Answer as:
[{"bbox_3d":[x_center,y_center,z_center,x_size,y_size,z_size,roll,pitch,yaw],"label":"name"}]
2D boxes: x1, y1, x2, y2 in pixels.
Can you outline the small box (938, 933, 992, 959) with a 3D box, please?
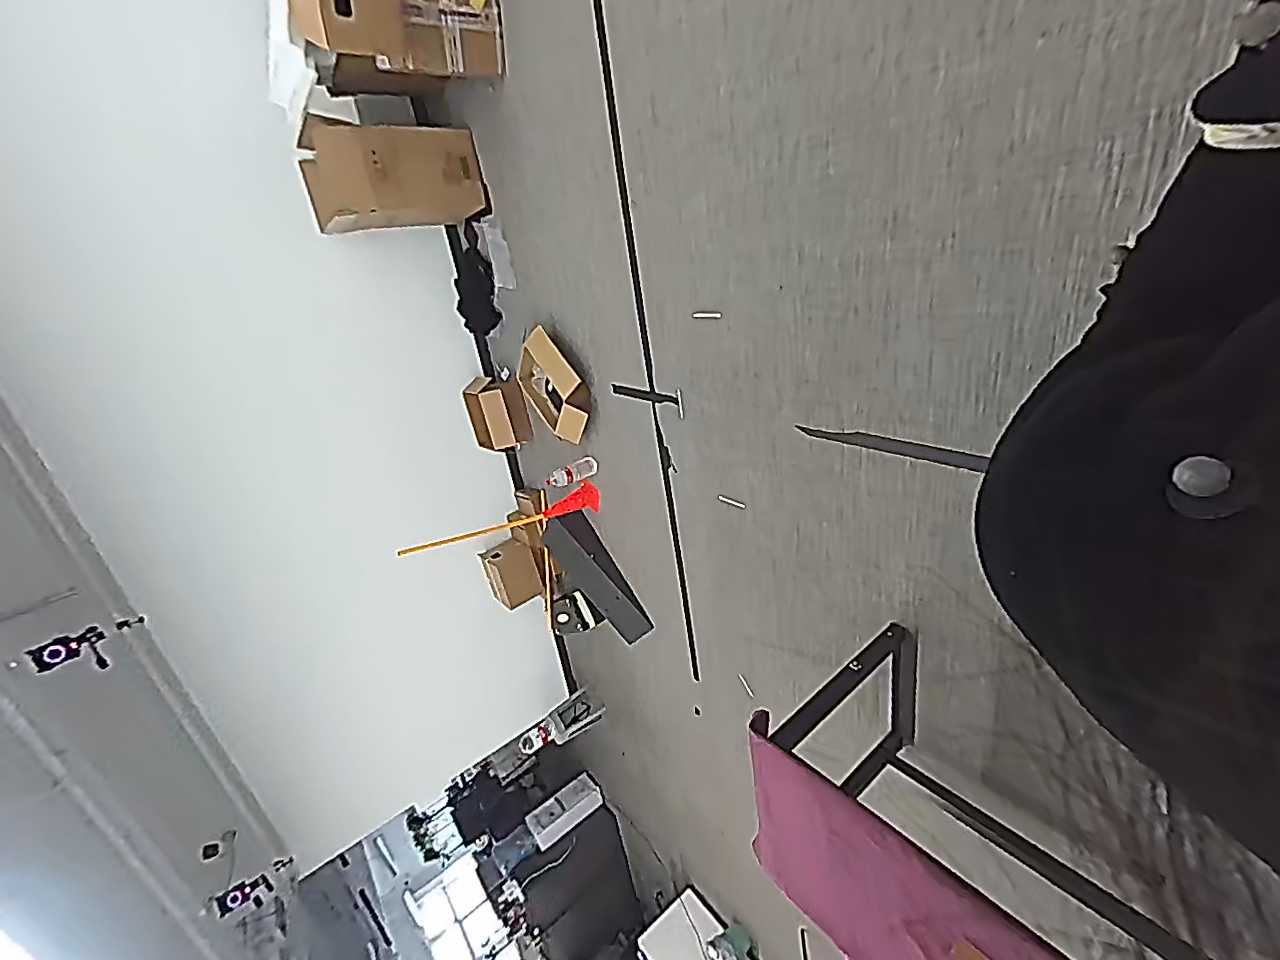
[{"bbox_3d":[0.663,1.071,1.072,0.168,0.176,0.179,22,129,46],"label":"small box"}]
